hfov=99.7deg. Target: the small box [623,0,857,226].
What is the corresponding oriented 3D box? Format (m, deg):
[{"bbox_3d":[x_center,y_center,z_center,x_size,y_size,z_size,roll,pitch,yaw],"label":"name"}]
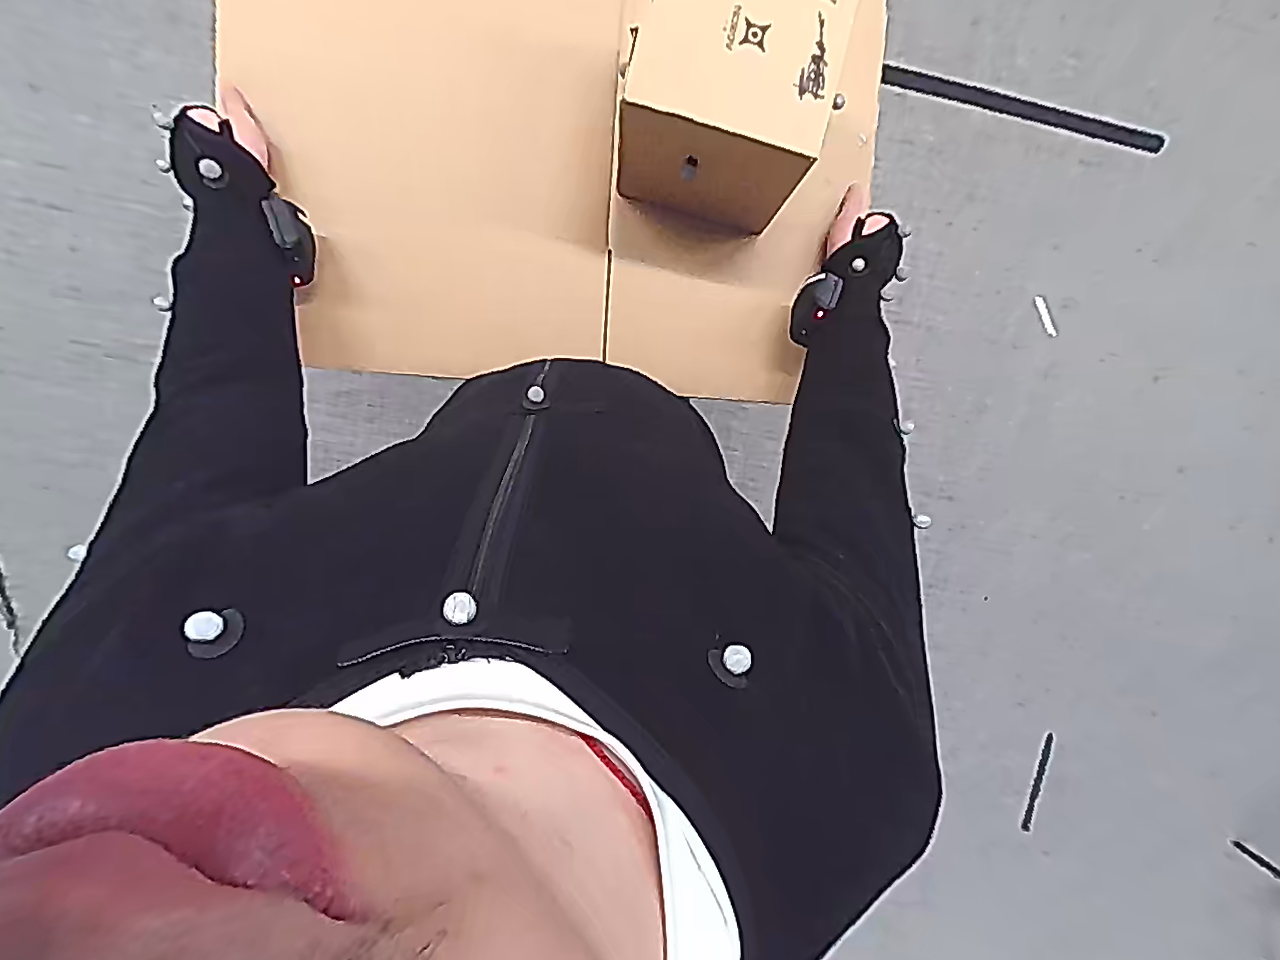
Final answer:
[{"bbox_3d":[0.085,-0.380,0.537,0.179,0.176,0.168,14,93,-4],"label":"small box"}]
